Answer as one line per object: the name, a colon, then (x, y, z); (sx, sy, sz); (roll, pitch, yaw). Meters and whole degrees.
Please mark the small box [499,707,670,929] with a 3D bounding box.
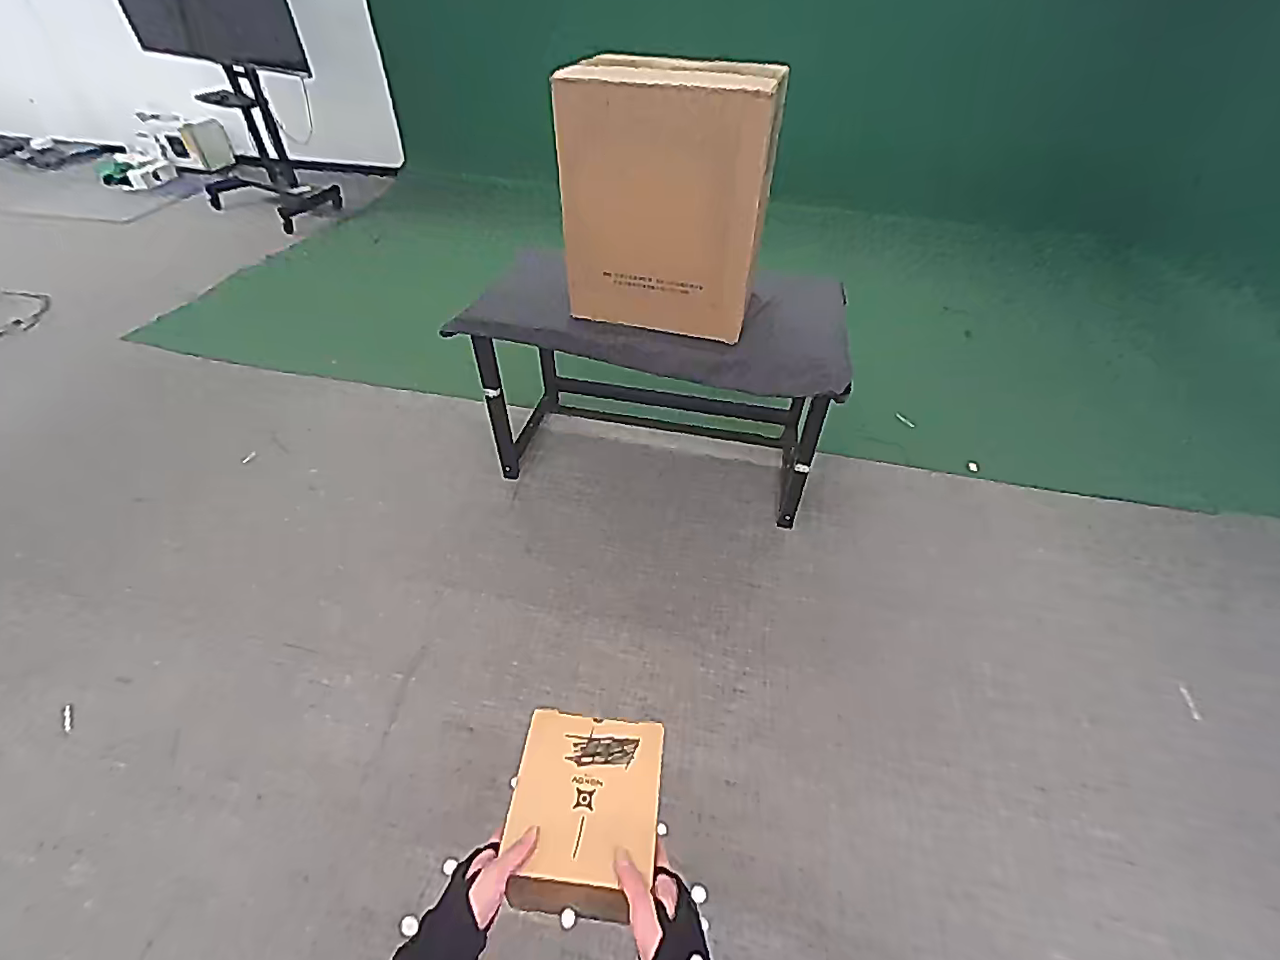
small box: (-0.060, 0.413, 0.664); (0.168, 0.176, 0.179); (7, 42, 4)
